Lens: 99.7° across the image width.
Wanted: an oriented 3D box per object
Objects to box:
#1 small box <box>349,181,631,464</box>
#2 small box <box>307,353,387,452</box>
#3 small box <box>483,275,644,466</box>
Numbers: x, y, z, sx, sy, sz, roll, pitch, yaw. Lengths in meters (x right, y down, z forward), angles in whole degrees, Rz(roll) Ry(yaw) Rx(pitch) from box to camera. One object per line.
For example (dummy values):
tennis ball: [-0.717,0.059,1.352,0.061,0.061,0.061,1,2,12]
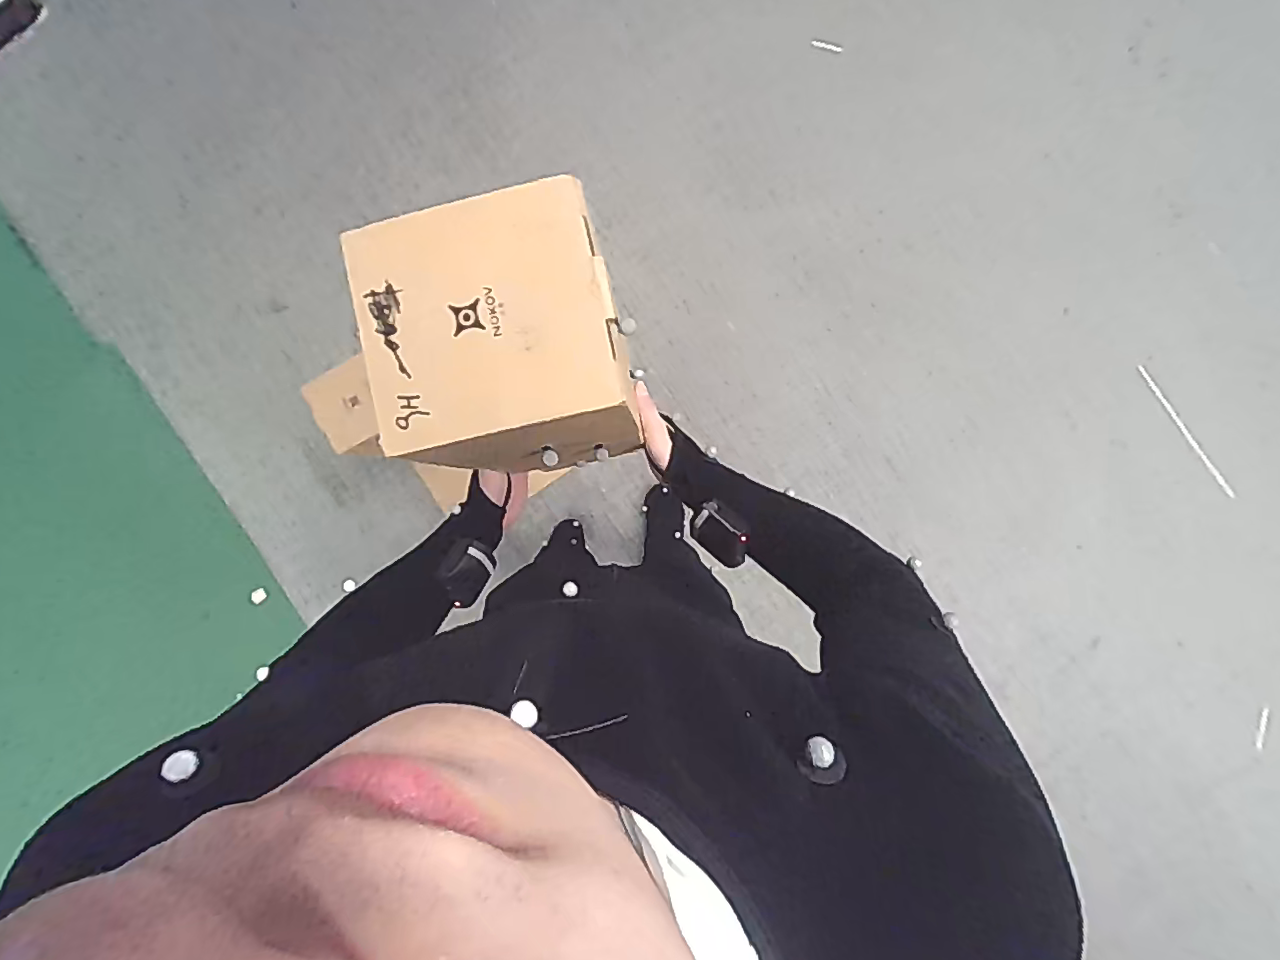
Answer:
small box: [-0.105,-0.113,0.459,0.179,0.176,0.168,-11,87,3]
small box: [-0.601,-0.170,1.235,0.179,0.176,0.168,-28,91,2]
small box: [-0.094,-0.112,0.623,0.179,0.176,0.168,-11,88,4]
